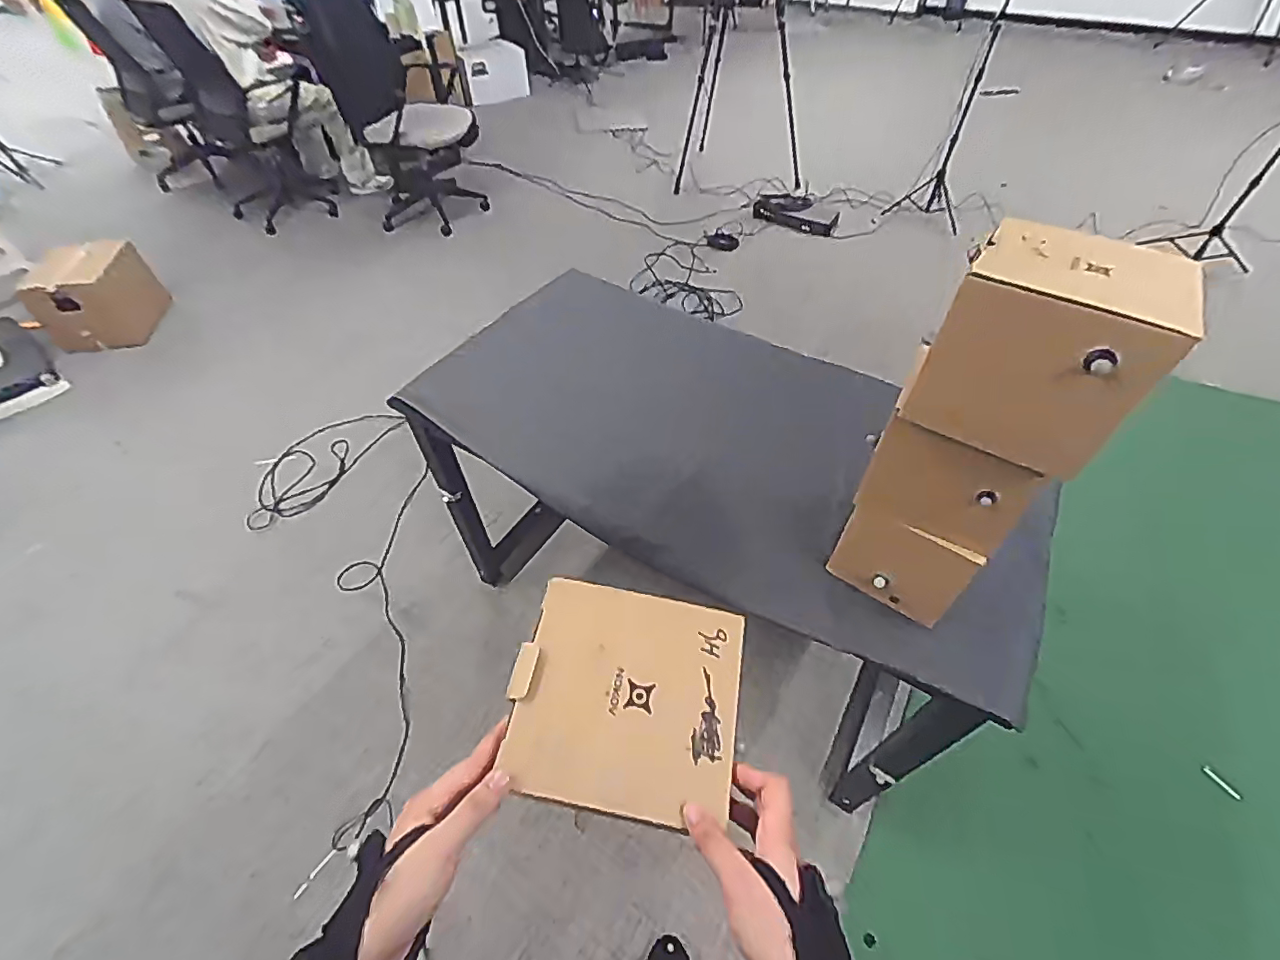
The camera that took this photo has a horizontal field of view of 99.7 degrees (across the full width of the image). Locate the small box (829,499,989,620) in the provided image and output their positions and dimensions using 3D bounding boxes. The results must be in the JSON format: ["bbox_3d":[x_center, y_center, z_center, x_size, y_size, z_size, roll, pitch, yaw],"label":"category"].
[{"bbox_3d":[0.401,0.067,0.796,0.168,0.176,0.179,30,54,25],"label":"small box"}]

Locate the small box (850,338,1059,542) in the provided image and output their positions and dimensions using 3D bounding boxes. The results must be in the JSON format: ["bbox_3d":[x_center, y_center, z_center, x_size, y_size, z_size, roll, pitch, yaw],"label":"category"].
[{"bbox_3d":[0.392,-0.047,0.681,0.179,0.176,0.168,23,50,21],"label":"small box"}]

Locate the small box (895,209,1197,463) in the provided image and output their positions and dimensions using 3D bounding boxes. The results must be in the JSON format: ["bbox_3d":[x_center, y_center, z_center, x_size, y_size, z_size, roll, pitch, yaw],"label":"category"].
[{"bbox_3d":[0.393,-0.141,0.543,0.179,0.176,0.168,28,51,23],"label":"small box"}]
